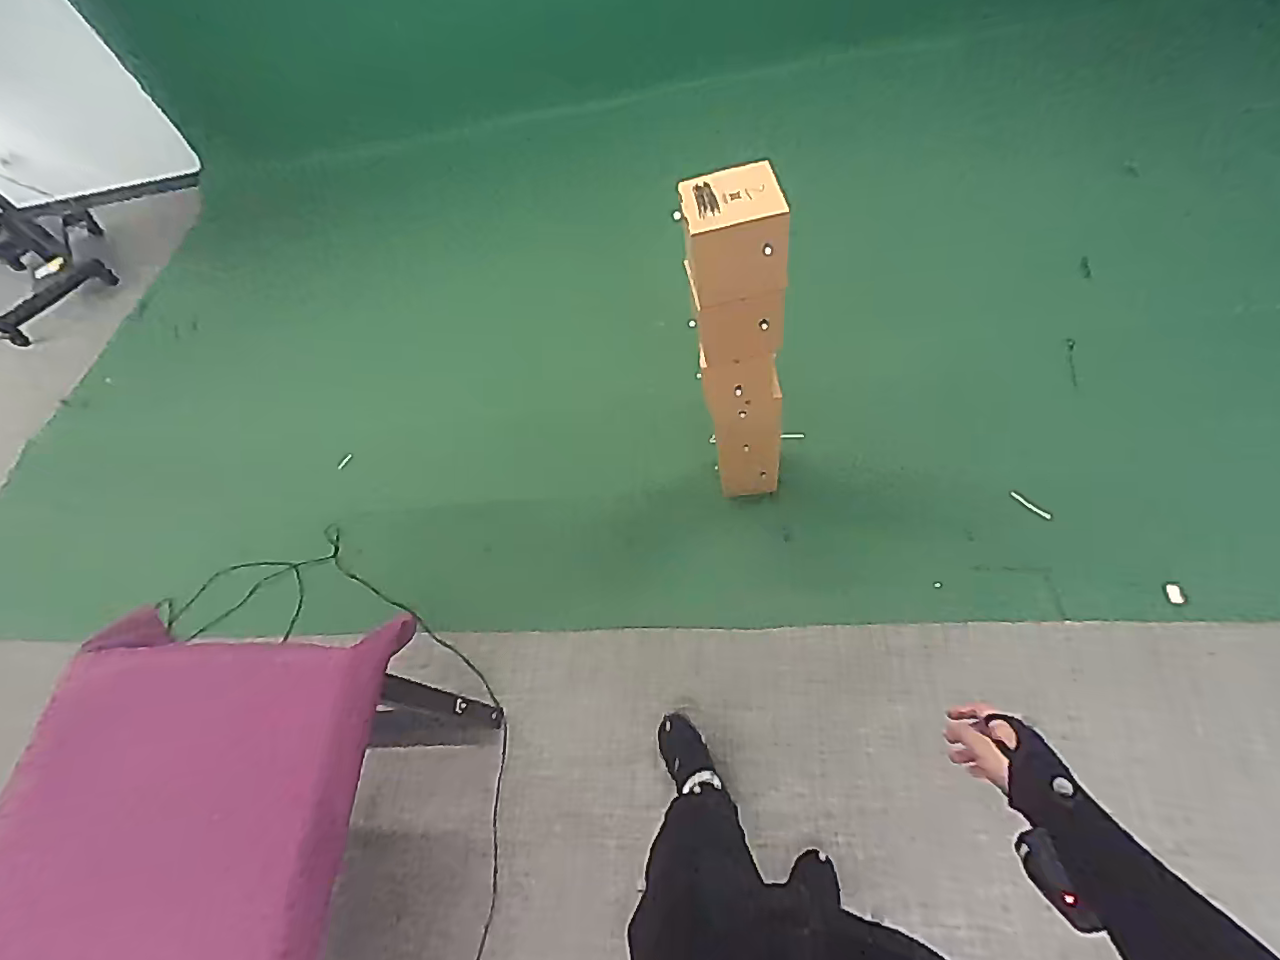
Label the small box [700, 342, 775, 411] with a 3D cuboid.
[{"bbox_3d":[0.238,-0.282,1.317,0.168,0.176,0.179,-5,60,10],"label":"small box"}]

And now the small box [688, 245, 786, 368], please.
[{"bbox_3d":[0.211,-0.373,1.184,0.179,0.176,0.168,-12,57,7],"label":"small box"}]

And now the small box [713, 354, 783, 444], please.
[{"bbox_3d":[0.285,-0.211,1.457,0.179,0.176,0.168,-8,59,8],"label":"small box"}]

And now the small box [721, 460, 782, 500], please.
[{"bbox_3d":[0.352,-0.050,1.732,0.179,0.176,0.168,-7,58,8],"label":"small box"}]

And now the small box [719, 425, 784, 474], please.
[{"bbox_3d":[0.322,-0.131,1.595,0.179,0.176,0.168,-6,59,10],"label":"small box"}]
